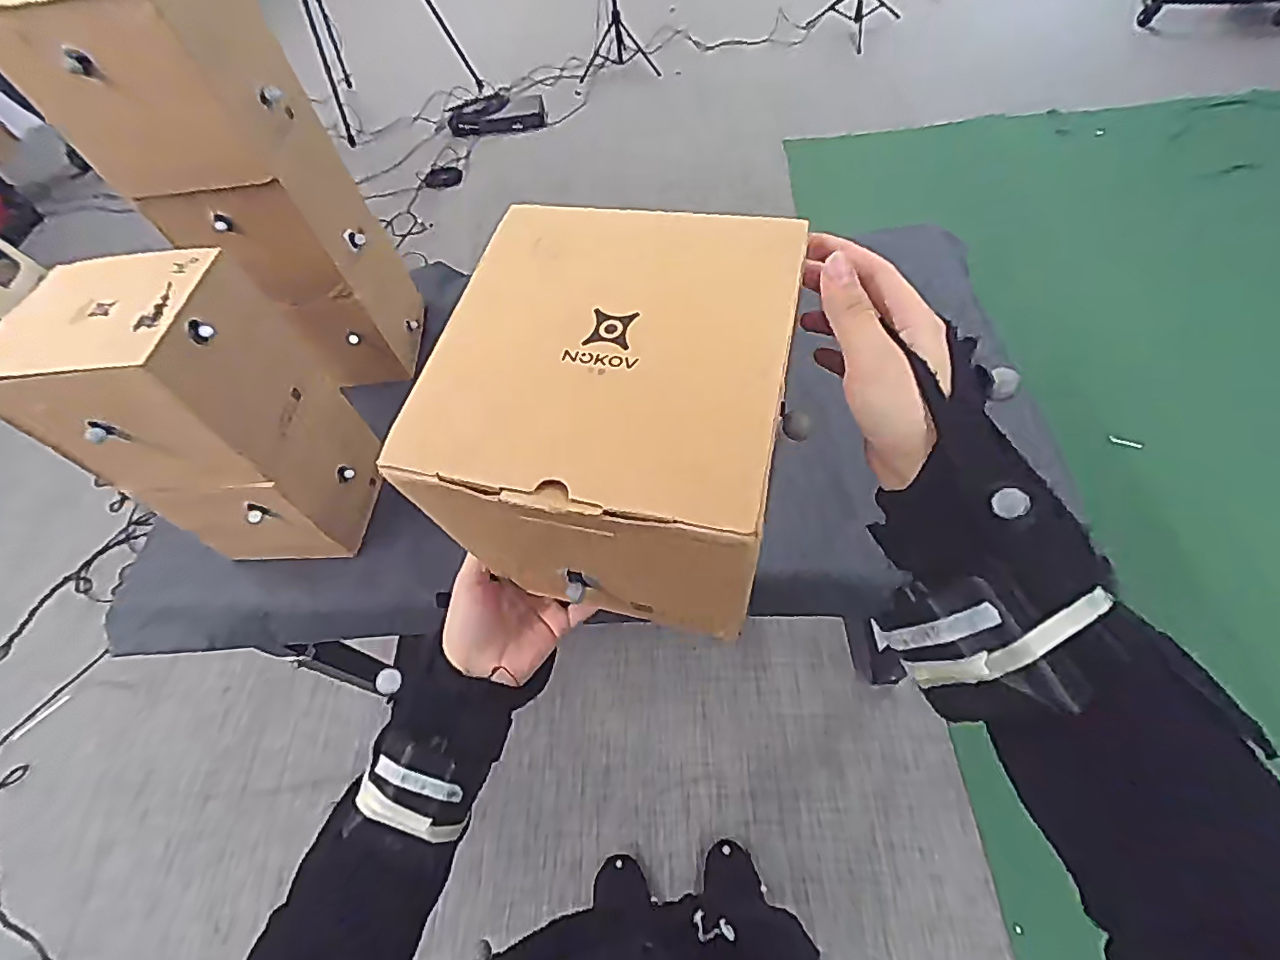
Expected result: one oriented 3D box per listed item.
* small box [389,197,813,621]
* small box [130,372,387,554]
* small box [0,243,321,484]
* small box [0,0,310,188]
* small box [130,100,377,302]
[{"bbox_3d":[-0.003,-0.033,0.322,0.168,0.176,0.179,9,66,12],"label":"small box"},{"bbox_3d":[-0.453,-0.016,0.682,0.179,0.176,0.168,-2,56,5],"label":"small box"},{"bbox_3d":[-0.473,-0.108,0.548,0.179,0.176,0.168,-6,56,4],"label":"small box"},{"bbox_3d":[-0.489,-0.427,0.556,0.179,0.176,0.168,-5,61,3],"label":"small box"},{"bbox_3d":[-0.478,-0.352,0.702,0.179,0.176,0.168,-6,61,1],"label":"small box"}]
